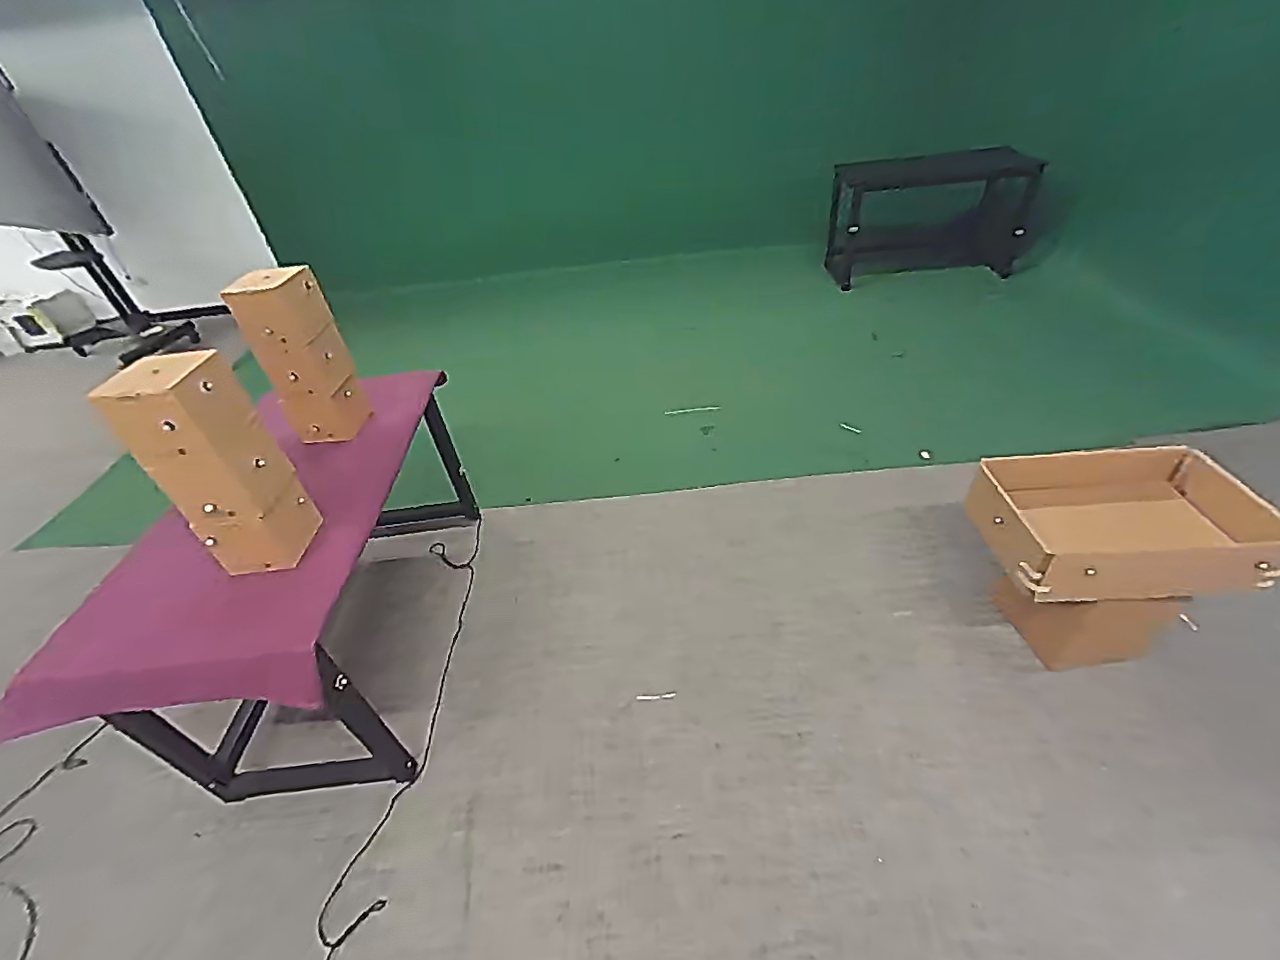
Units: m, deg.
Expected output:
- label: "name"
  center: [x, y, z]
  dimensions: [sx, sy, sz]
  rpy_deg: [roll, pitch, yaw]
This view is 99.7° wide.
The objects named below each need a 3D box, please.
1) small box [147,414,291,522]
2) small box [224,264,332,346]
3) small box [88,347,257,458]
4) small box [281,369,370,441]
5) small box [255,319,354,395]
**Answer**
- label: "small box"
  center: [-0.932, -0.028, 1.223]
  dimensions: [0.168, 0.176, 0.179]
  rpy_deg: [-6, 40, 0]
- label: "small box"
  center: [-1.020, -0.500, 1.546]
  dimensions: [0.168, 0.176, 0.179]
  rpy_deg: [-3, 41, 5]
- label: "small box"
  center: [-0.949, -0.156, 1.123]
  dimensions: [0.168, 0.176, 0.179]
  rpy_deg: [-5, 38, 1]
- label: "small box"
  center: [-1.008, -0.244, 1.755]
  dimensions: [0.168, 0.176, 0.179]
  rpy_deg: [-2, 41, 4]
- label: "small box"
  center: [-1.010, -0.370, 1.649]
  dimensions: [0.168, 0.176, 0.179]
  rpy_deg: [-2, 41, 4]
